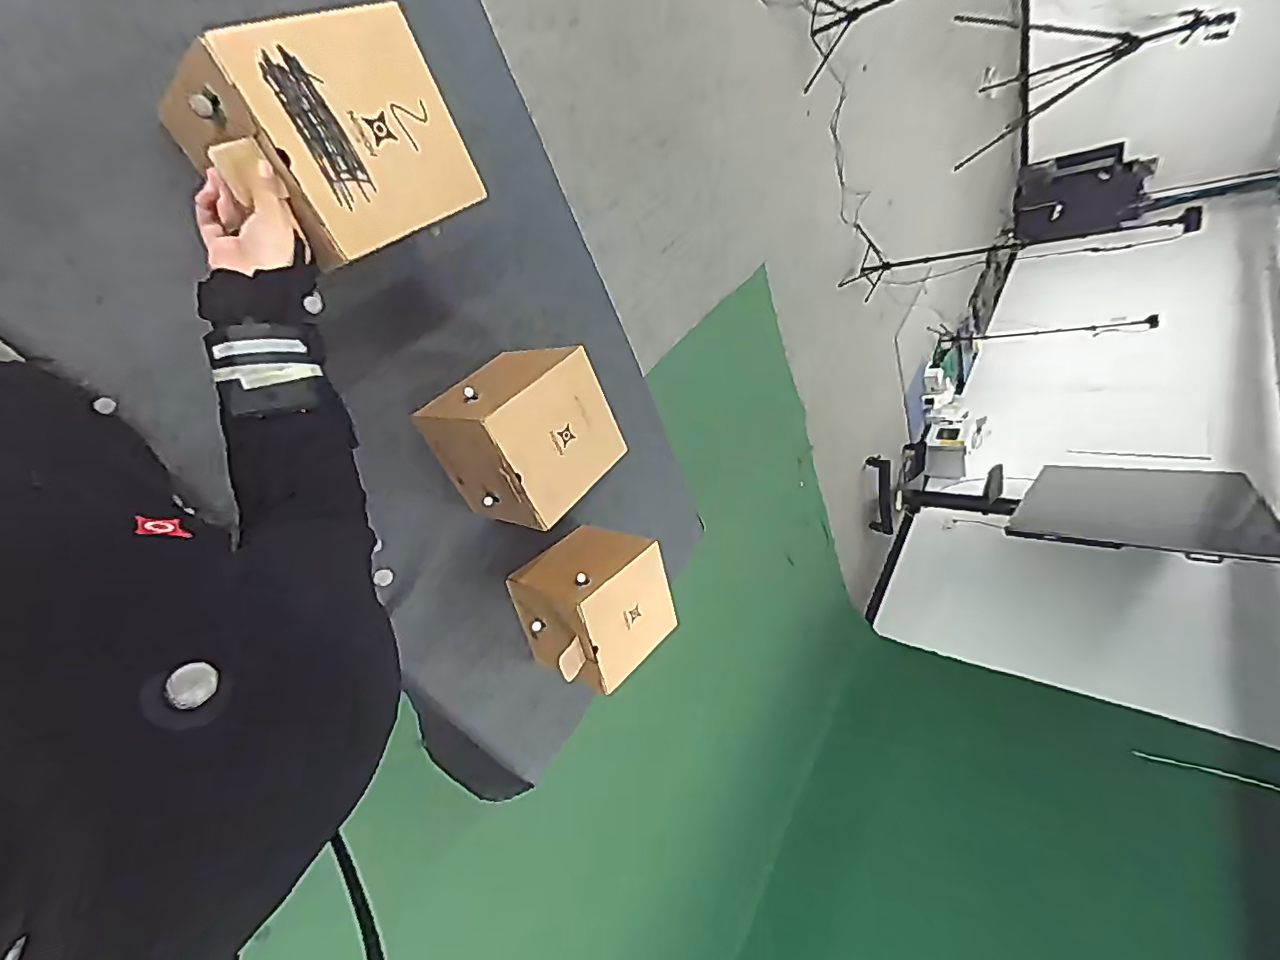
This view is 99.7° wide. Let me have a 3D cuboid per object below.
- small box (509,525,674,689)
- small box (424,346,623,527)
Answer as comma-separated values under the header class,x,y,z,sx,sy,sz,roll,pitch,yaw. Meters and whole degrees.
class,x,y,z,sx,sy,sz,roll,pitch,yaw
small box,-0.074,0.188,0.862,0.179,0.176,0.168,-35,121,-40
small box,-0.159,-0.062,0.725,0.179,0.176,0.168,-50,131,-34
